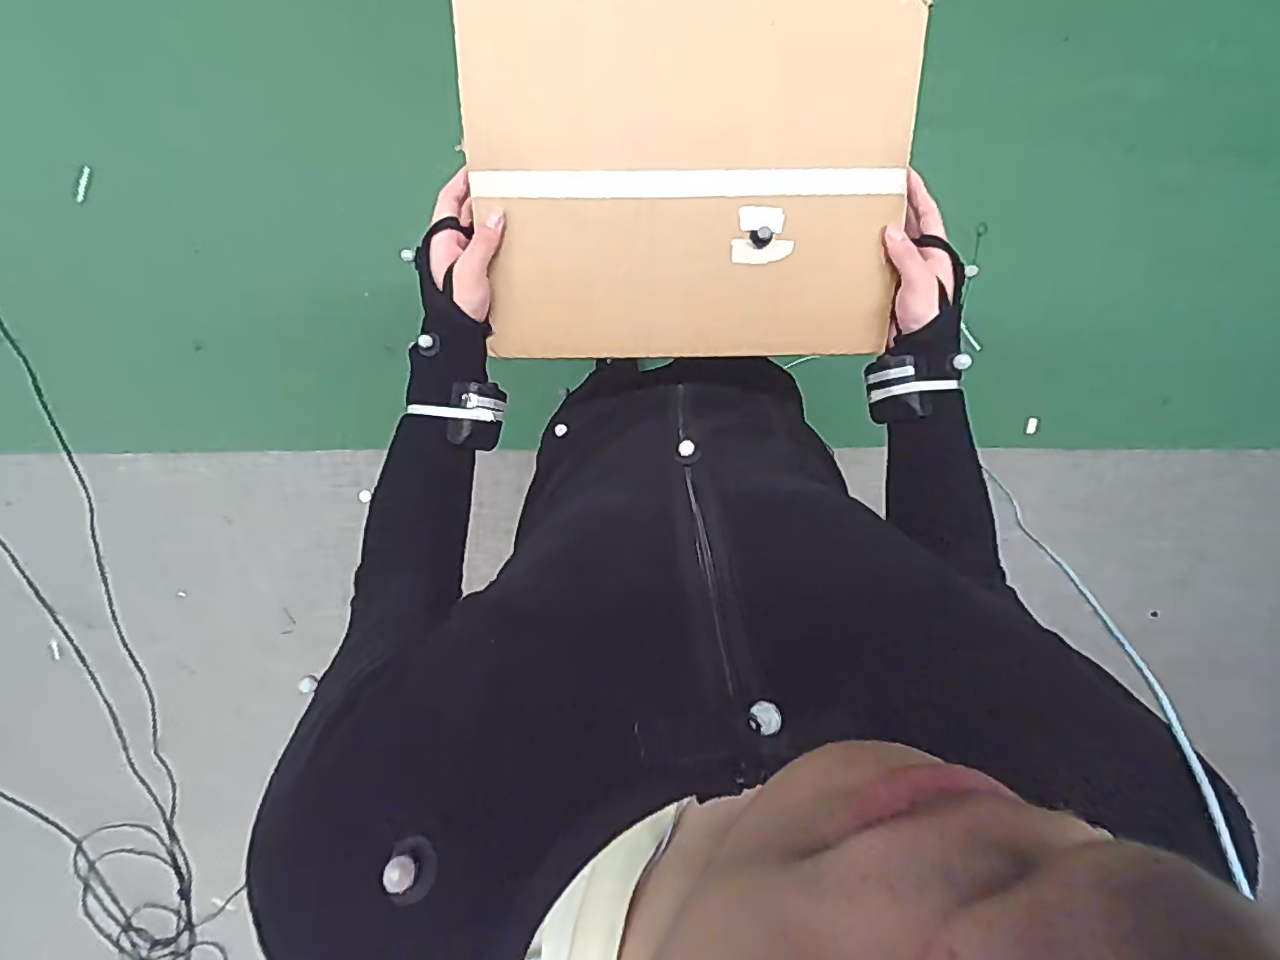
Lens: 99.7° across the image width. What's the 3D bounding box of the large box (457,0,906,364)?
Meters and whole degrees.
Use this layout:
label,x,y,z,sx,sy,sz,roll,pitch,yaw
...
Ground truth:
label,x,y,z,sx,sy,sz,roll,pitch,yaw
large box,0.035,-0.318,0.657,0.408,0.320,0.320,-2,108,-3
